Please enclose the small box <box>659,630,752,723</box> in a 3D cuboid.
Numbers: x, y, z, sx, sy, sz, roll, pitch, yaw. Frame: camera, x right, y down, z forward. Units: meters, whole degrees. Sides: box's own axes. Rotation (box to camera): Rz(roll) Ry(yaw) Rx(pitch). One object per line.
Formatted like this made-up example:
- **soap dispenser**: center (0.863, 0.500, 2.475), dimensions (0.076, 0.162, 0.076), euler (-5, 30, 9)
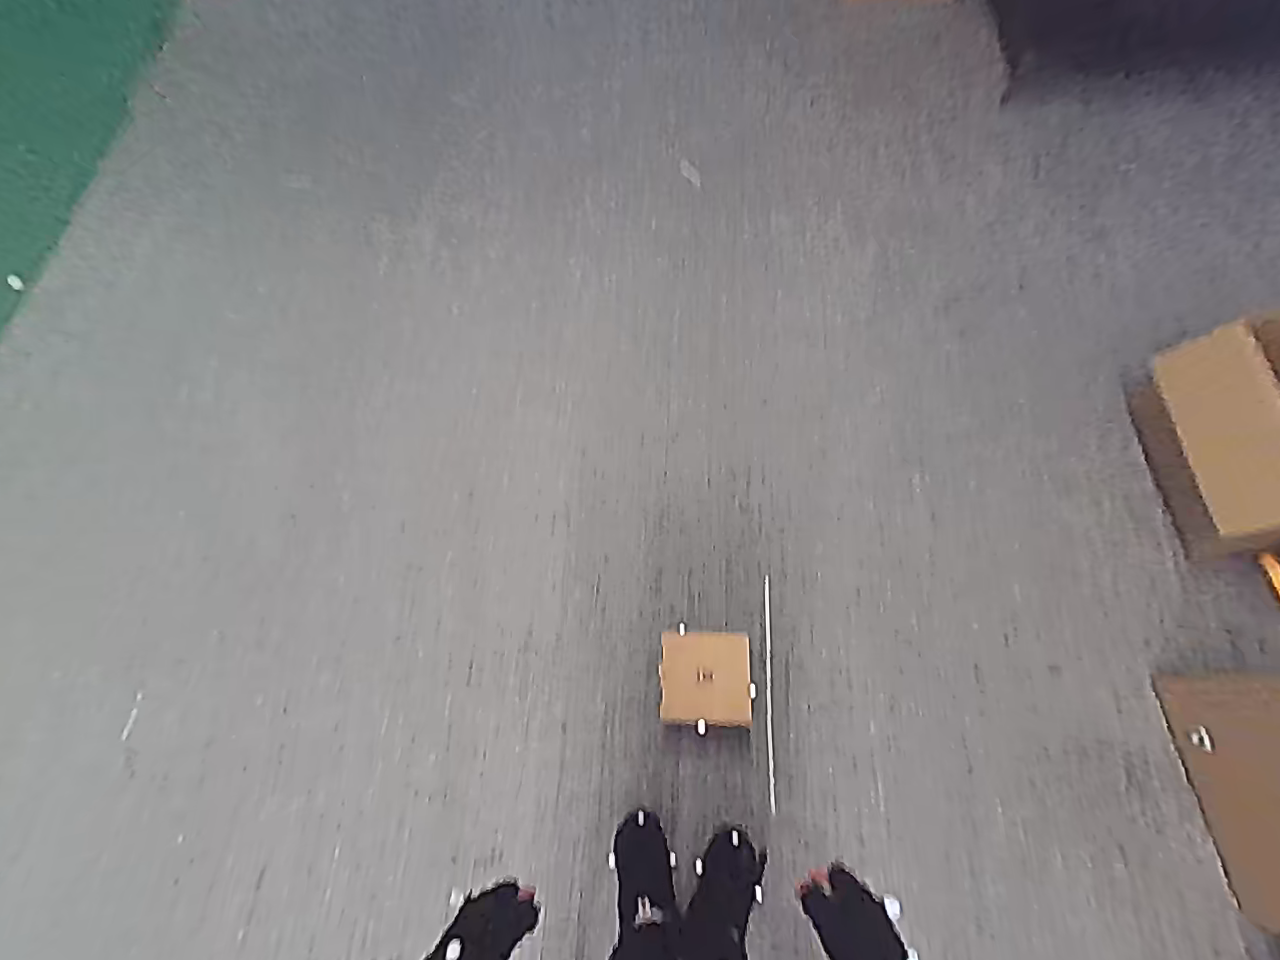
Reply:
- **small box**: center (0.135, 0.406, 1.123), dimensions (0.179, 0.176, 0.168), euler (0, 69, 7)
